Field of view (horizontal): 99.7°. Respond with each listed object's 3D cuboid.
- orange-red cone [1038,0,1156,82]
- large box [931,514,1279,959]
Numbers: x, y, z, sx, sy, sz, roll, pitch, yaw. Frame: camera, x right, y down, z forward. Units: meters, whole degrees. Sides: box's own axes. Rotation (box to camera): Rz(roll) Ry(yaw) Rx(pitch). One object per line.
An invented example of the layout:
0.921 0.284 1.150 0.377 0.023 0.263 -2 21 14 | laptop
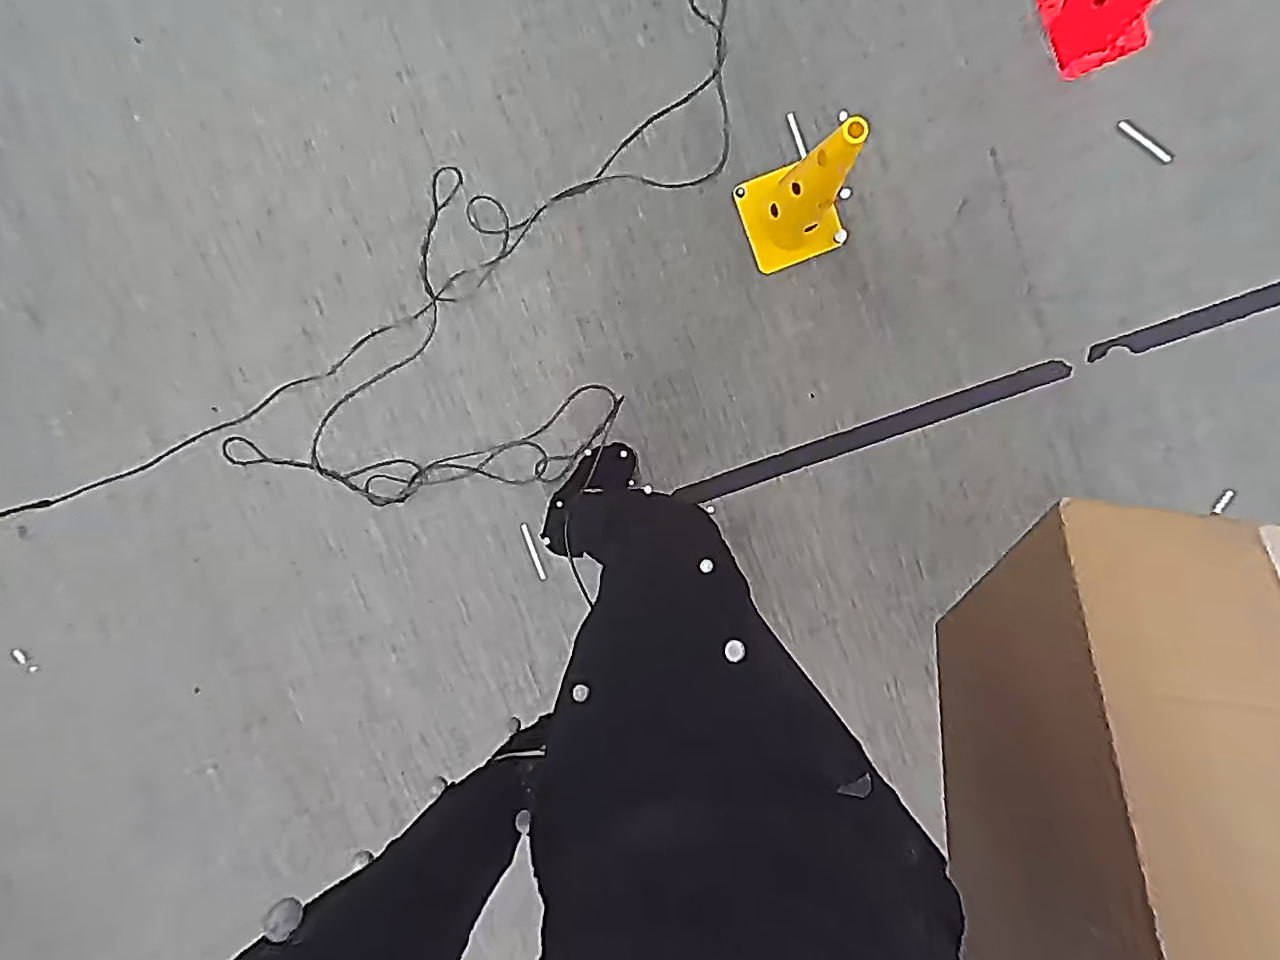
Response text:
0.960 -0.951 0.977 0.199 0.360 0.198 -22 95 3 | orange-red cone
0.487 0.296 0.481 0.320 0.320 0.408 9 56 12 | large box
